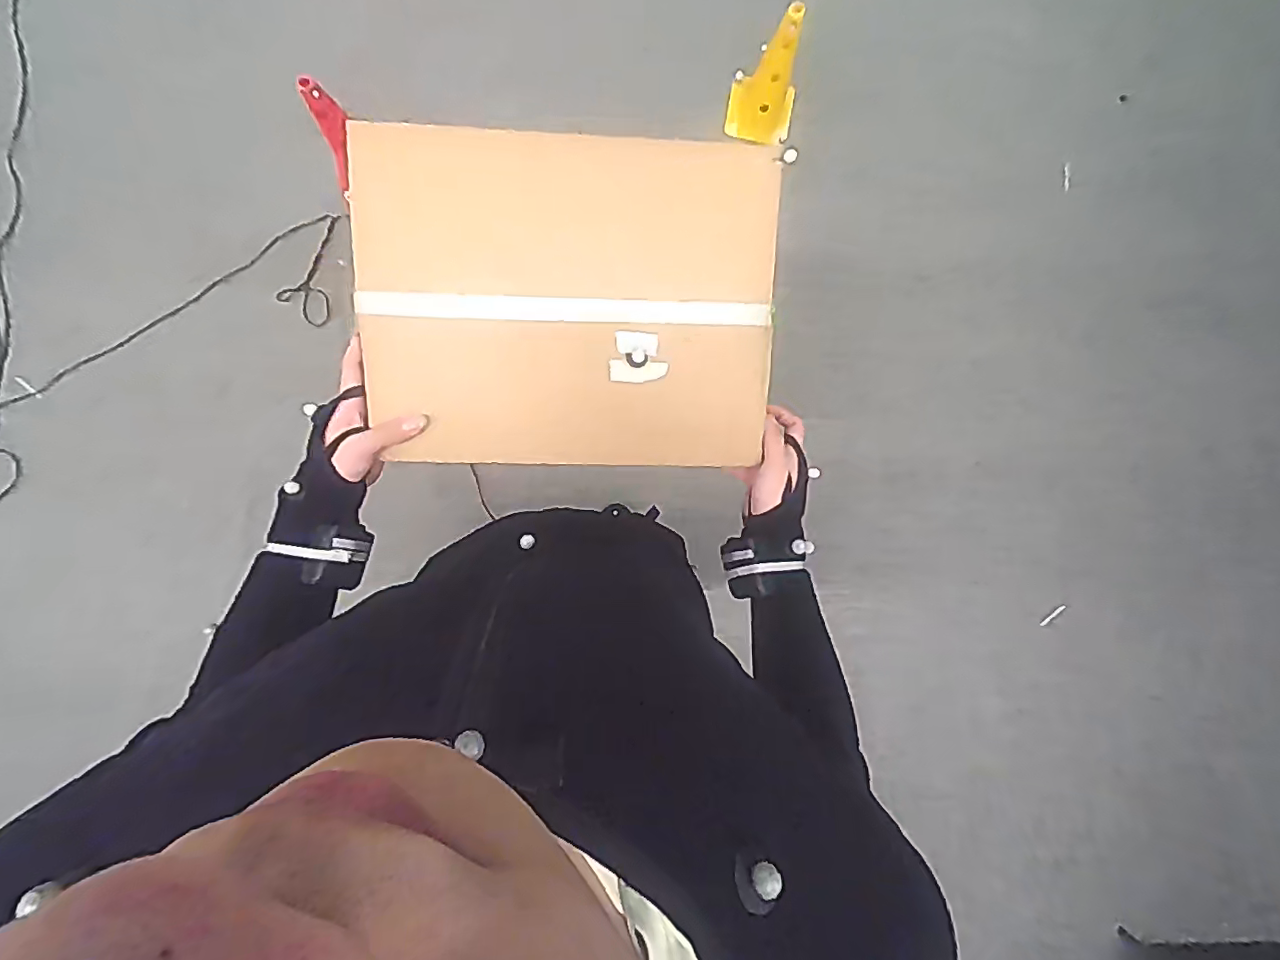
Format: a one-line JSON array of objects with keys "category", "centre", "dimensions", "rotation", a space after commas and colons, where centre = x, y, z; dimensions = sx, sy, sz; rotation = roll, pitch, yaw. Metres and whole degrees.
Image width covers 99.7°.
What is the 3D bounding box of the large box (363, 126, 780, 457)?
[{"category": "large box", "centre": [-0.075, -0.206, 0.688], "dimensions": [0.408, 0.320, 0.320], "rotation": [1, 102, -5]}]
